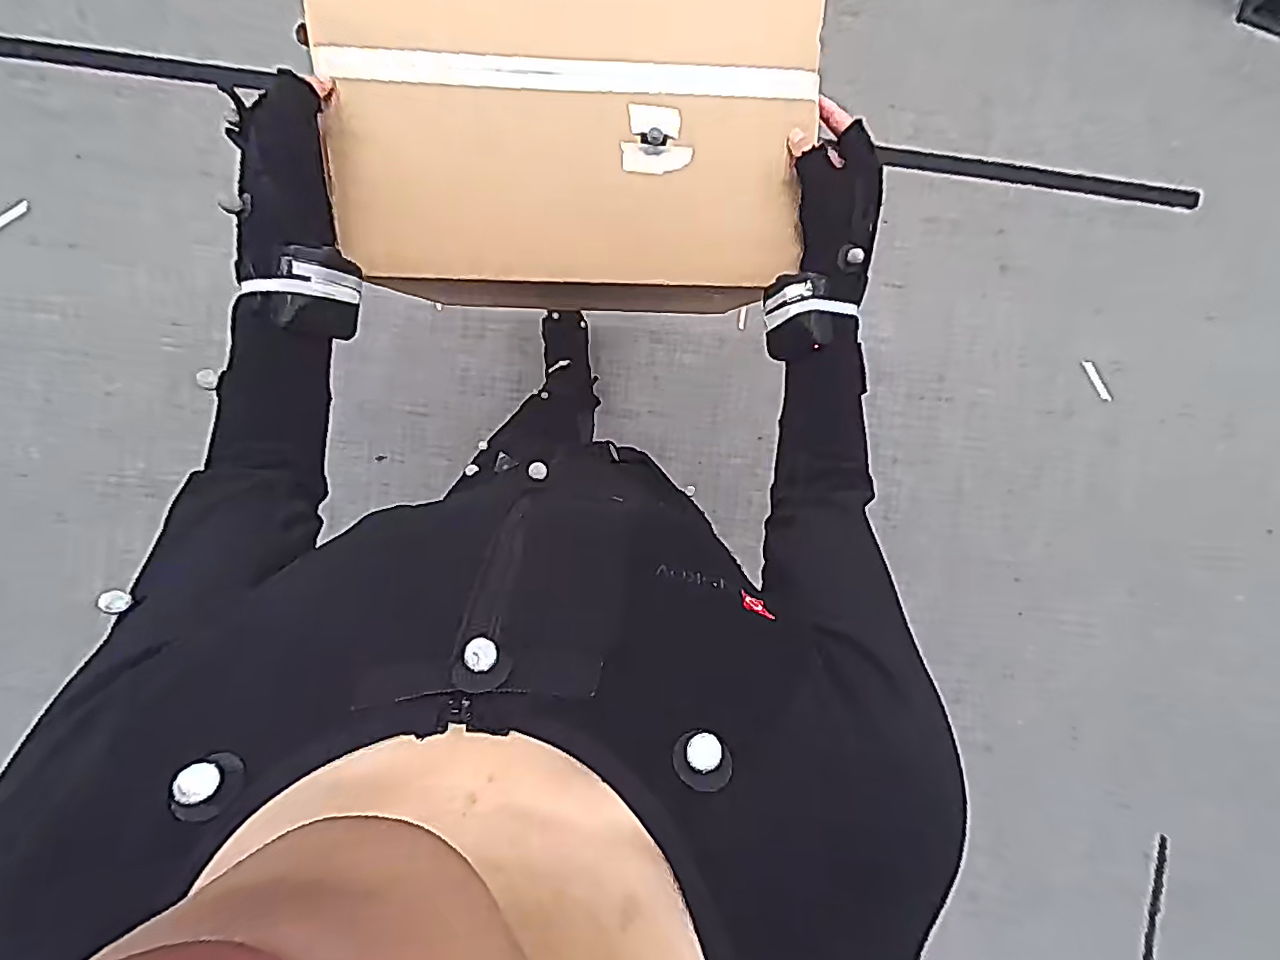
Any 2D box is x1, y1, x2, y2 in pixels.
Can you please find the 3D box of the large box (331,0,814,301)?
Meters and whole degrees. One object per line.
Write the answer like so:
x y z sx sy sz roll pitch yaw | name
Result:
-0.063 -0.376 0.601 0.408 0.320 0.320 -1 104 -5 | large box
